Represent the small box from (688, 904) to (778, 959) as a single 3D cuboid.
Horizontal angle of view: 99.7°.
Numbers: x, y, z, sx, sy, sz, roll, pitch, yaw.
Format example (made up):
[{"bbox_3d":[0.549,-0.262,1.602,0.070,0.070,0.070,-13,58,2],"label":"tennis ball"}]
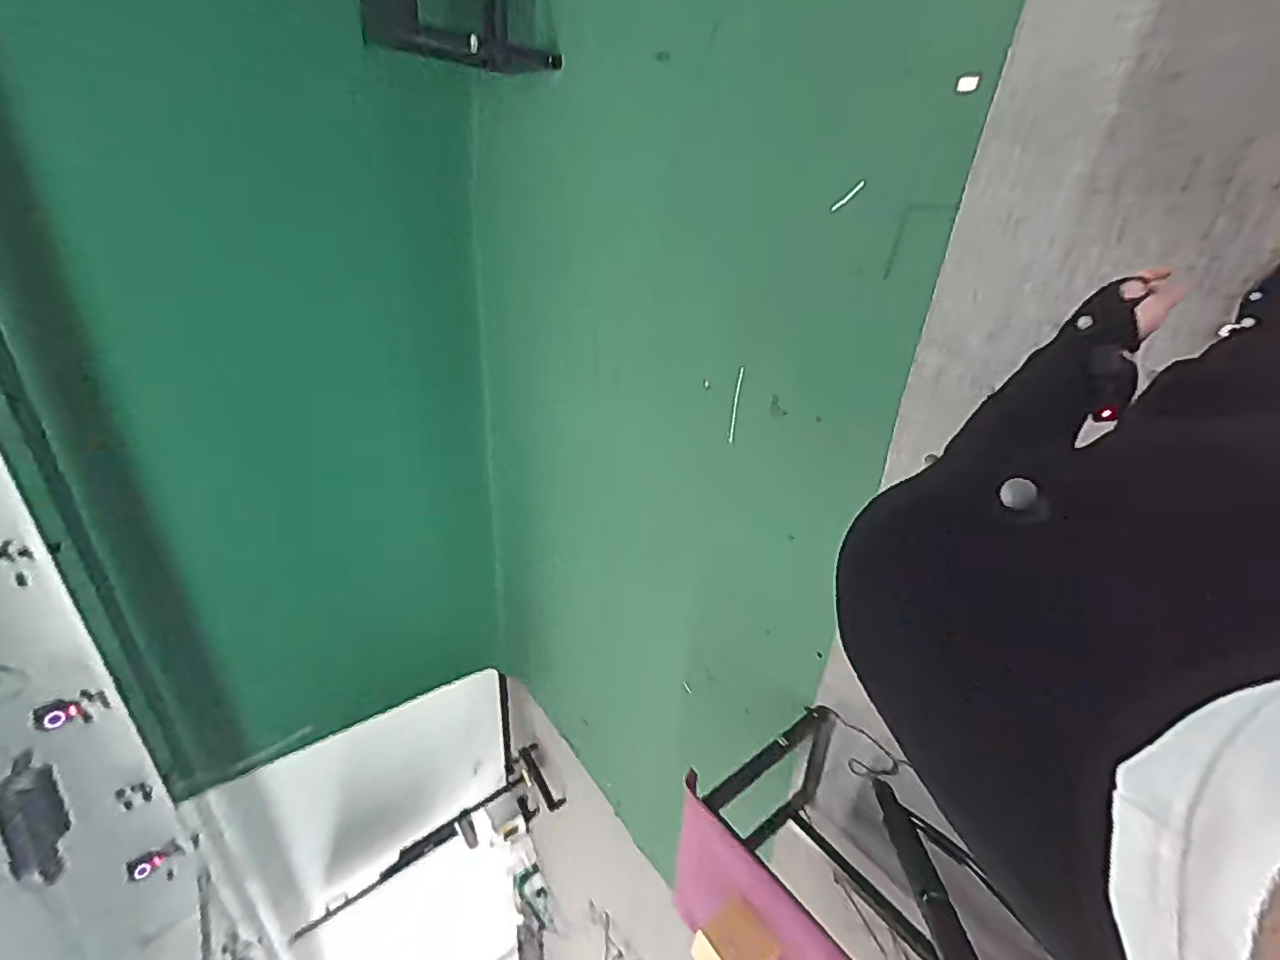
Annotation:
[{"bbox_3d":[0.272,1.404,1.592,0.179,0.176,0.168,34,128,40],"label":"small box"}]
